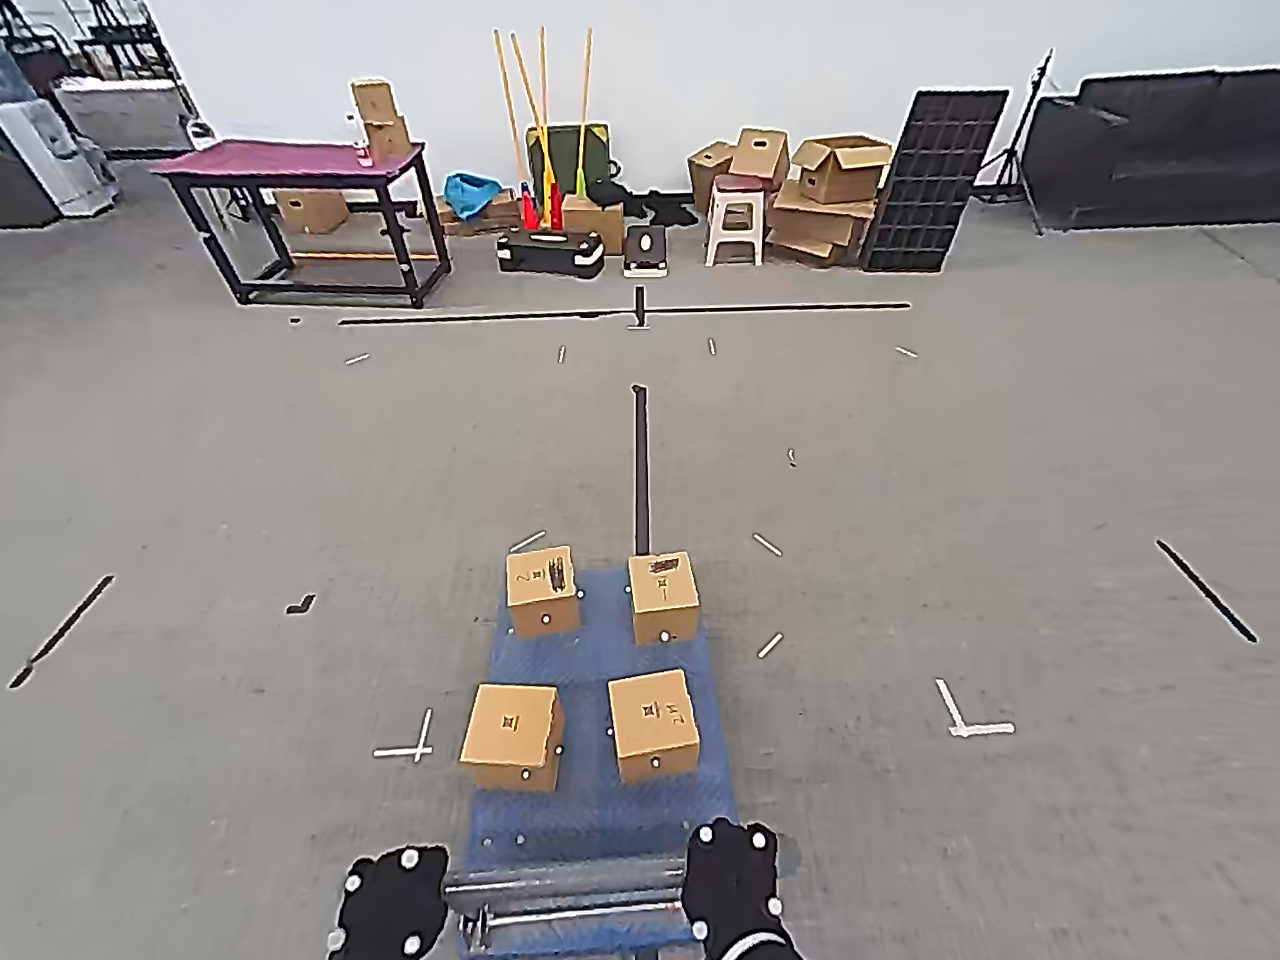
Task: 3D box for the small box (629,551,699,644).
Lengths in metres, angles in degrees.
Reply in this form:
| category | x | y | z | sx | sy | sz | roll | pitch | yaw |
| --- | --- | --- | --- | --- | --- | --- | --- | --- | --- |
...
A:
| category | x | y | z | sx | sy | sz | roll | pitch | yaw |
| --- | --- | --- | --- | --- | --- | --- | --- | --- | --- |
| small box | 0.060 | 0.316 | 1.456 | 0.168 | 0.176 | 0.179 | -6 | 45 | -4 |

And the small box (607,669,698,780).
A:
| category | x | y | z | sx | sy | sz | roll | pitch | yaw |
| --- | --- | --- | --- | --- | --- | --- | --- | --- | --- |
| small box | 0.027 | 0.552 | 1.214 | 0.179 | 0.176 | 0.168 | -7 | 45 | -6 |

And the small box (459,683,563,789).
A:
| category | x | y | z | sx | sy | sz | roll | pitch | yaw |
| --- | --- | --- | --- | --- | --- | --- | --- | --- | --- |
| small box | -0.277 | 0.571 | 1.204 | 0.179 | 0.176 | 0.168 | 2 | 44 | 1 |
